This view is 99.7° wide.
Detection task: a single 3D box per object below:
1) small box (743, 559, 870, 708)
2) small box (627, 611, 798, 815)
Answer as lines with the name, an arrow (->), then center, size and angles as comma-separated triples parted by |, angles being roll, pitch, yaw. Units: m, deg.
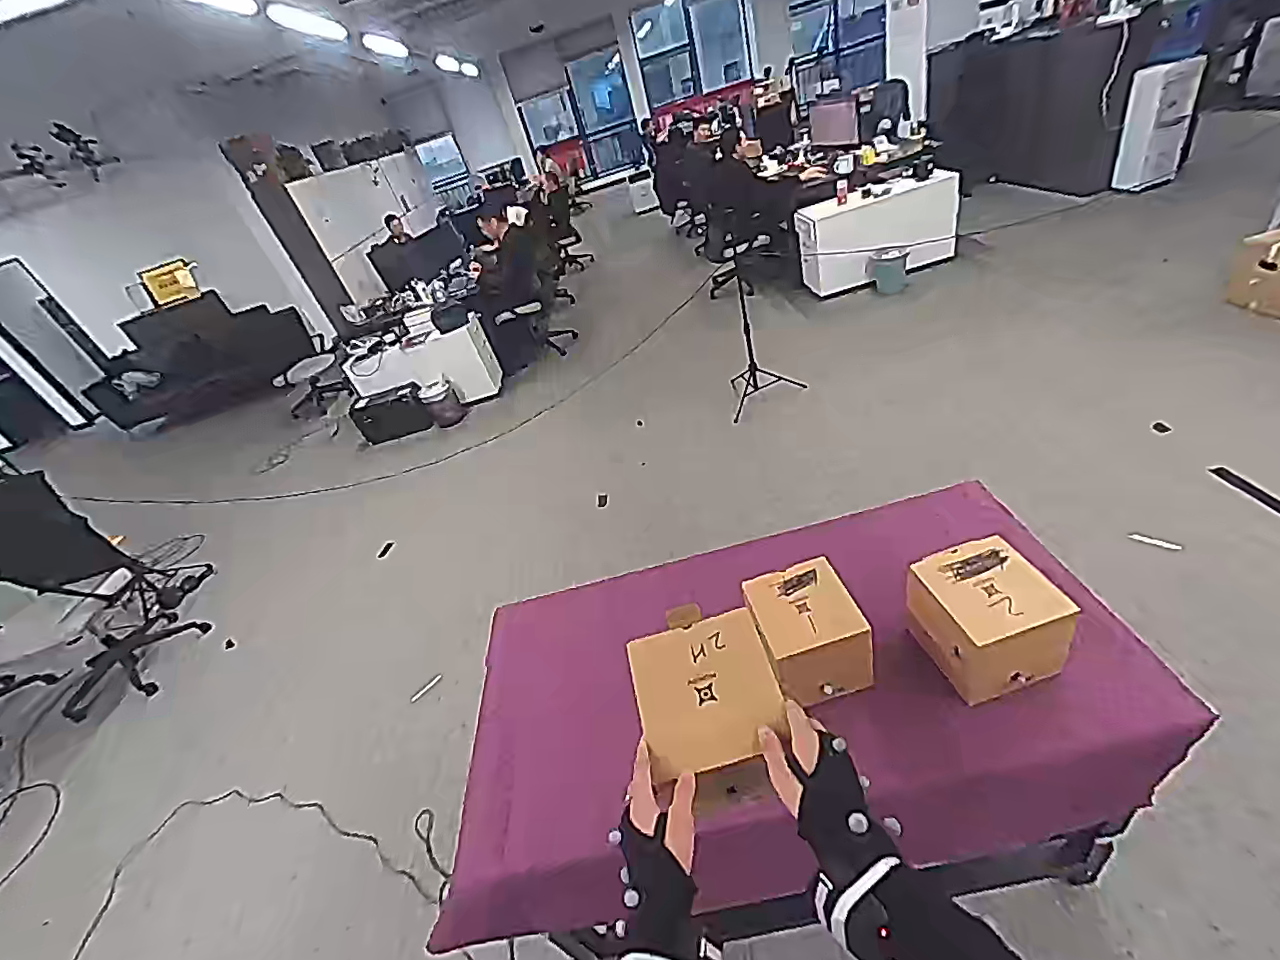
small box -> 0.303, 0.281, 0.995 | 0.168, 0.176, 0.179 | -19, 35, 1
small box -> 0.095, 0.306, 0.698 | 0.168, 0.176, 0.179 | -17, 42, 1
